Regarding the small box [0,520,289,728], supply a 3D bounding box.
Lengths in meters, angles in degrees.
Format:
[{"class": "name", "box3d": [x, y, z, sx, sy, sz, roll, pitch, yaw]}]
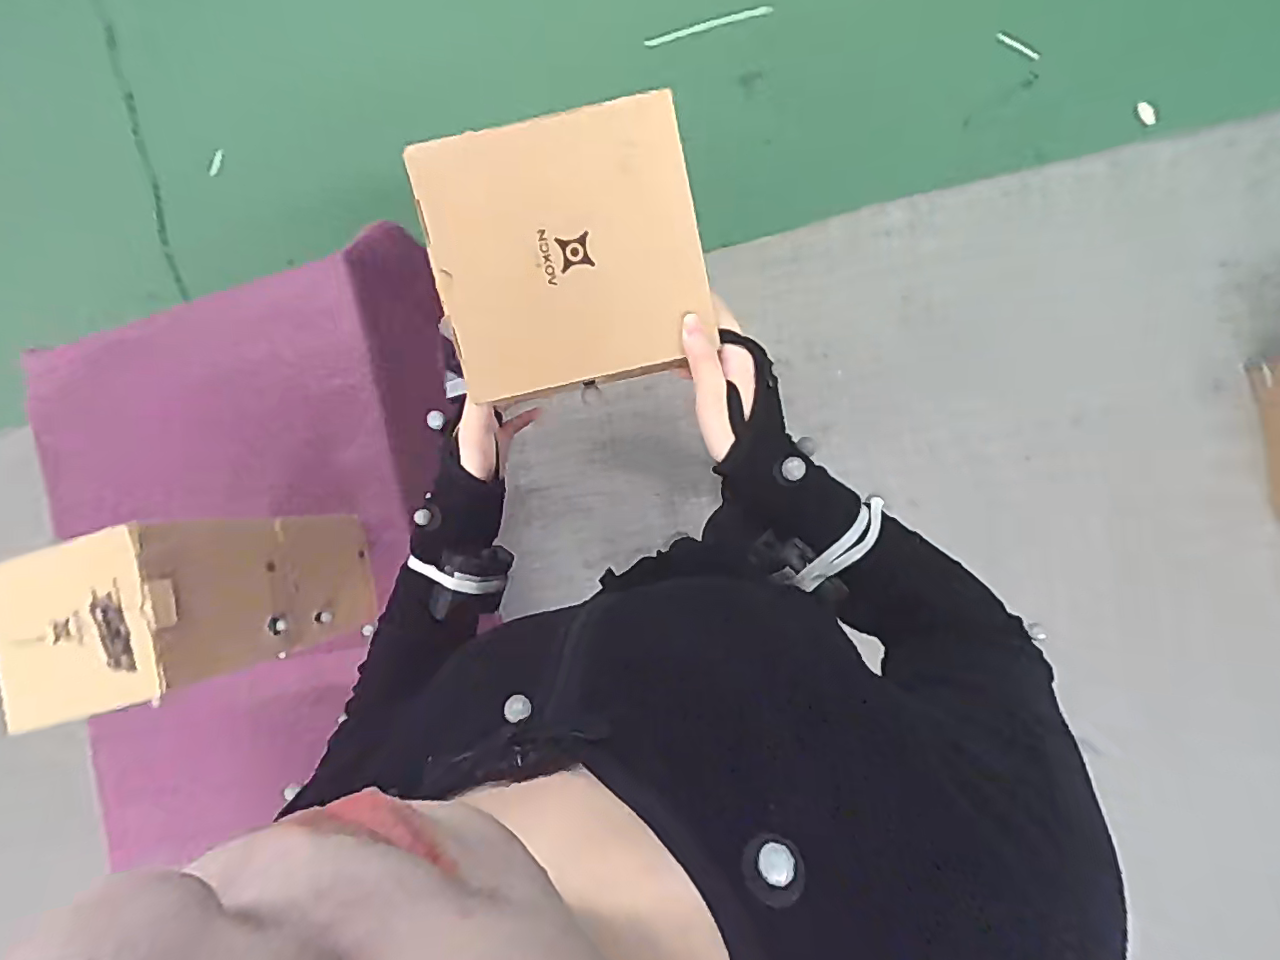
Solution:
[{"class": "small box", "box3d": [-0.525, 0.143, 0.595, 0.179, 0.176, 0.168, -16, 85, 8]}]

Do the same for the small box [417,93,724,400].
[{"class": "small box", "box3d": [-0.044, -0.163, 0.432, 0.179, 0.176, 0.168, -12, 99, 1]}]
